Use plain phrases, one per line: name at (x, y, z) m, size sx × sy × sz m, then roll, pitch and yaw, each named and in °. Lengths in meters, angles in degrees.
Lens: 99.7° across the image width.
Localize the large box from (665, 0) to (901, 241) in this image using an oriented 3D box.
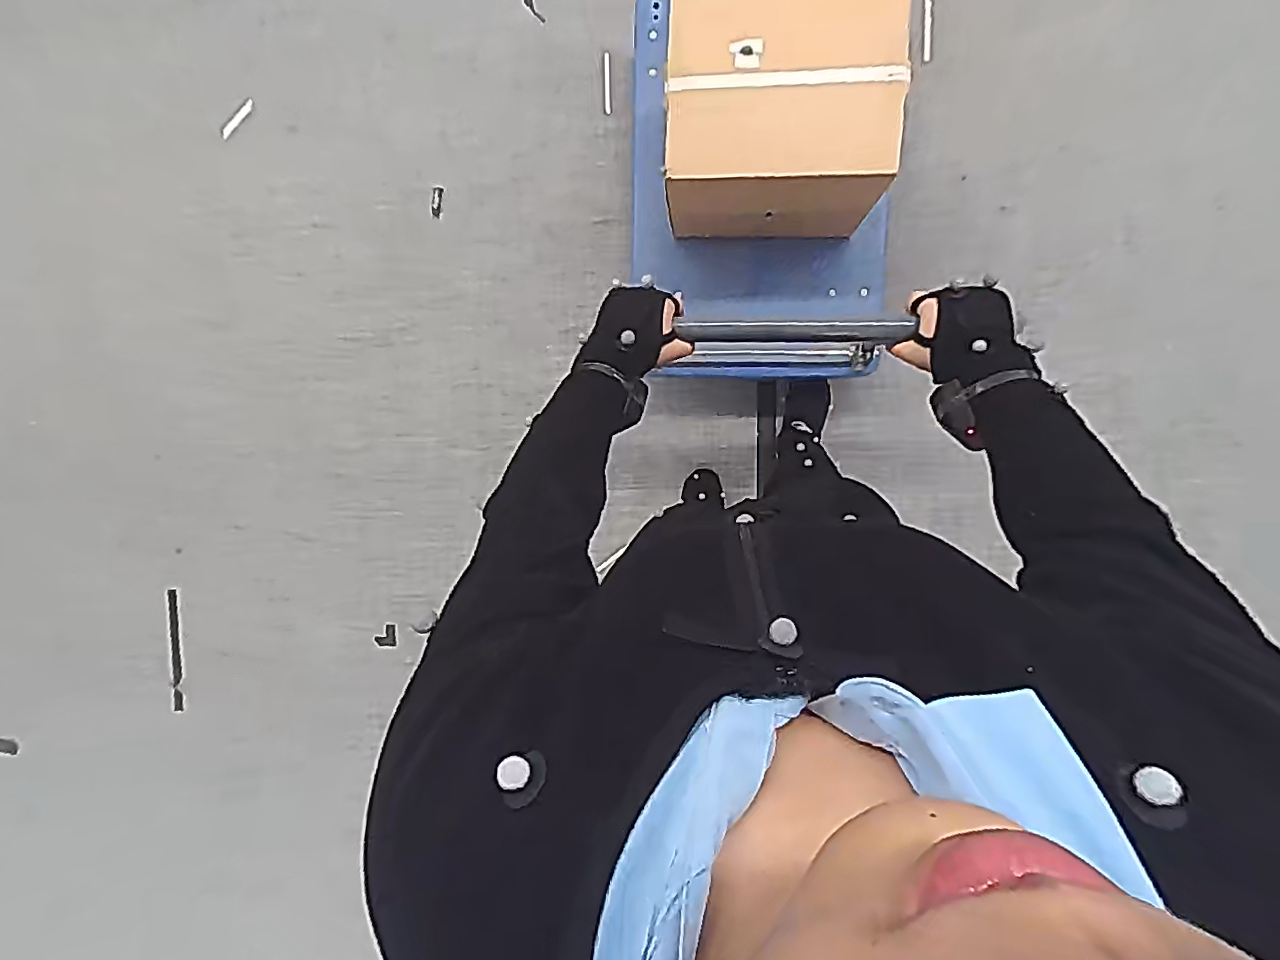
large box at (0.266, -0.698, 1.097) m, size 0.408 × 0.320 × 0.320 m, roll 2°, pitch 94°, yaw 8°
